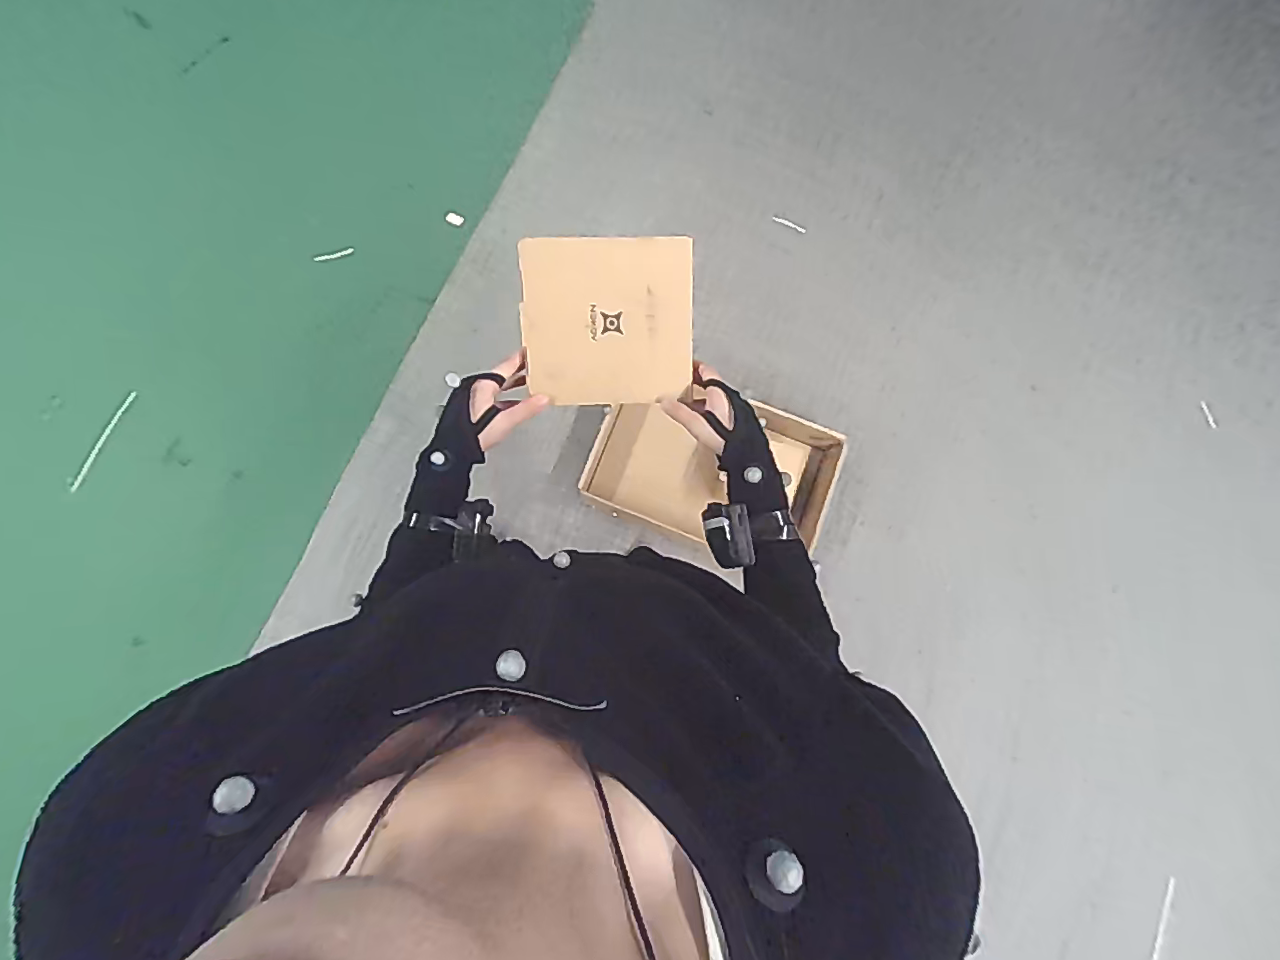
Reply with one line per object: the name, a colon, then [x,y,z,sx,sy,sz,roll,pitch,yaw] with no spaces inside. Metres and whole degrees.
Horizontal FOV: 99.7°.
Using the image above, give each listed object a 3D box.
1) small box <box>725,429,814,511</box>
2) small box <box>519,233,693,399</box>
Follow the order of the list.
small box: [0.335,-0.019,1.436,0.179,0.176,0.168,16,83,1]
small box: [-0.034,-0.181,0.631,0.179,0.176,0.168,-1,103,-1]
